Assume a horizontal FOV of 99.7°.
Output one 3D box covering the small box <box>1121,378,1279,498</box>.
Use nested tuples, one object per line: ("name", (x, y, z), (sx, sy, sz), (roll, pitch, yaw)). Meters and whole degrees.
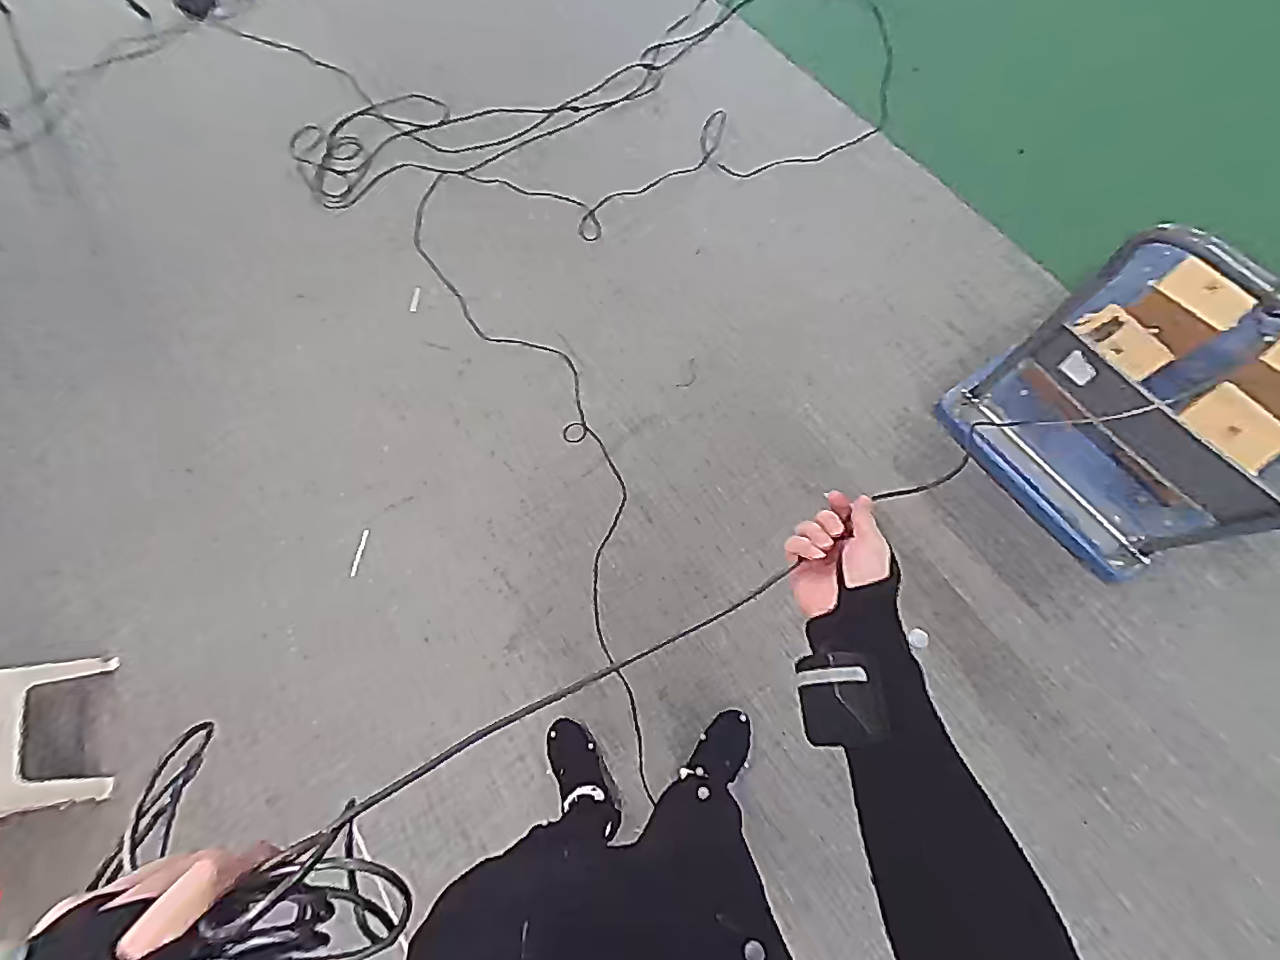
("small box", (1.240, -0.086, 1.194), (0.179, 0.176, 0.168), (-35, 72, -4))

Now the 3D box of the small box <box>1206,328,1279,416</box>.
("small box", (1.460, -0.241, 1.215), (0.179, 0.176, 0.168), (-39, 71, -5))

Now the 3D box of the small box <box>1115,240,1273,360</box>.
("small box", (1.302, -0.422, 1.293), (0.179, 0.176, 0.168), (-39, 73, -6))
